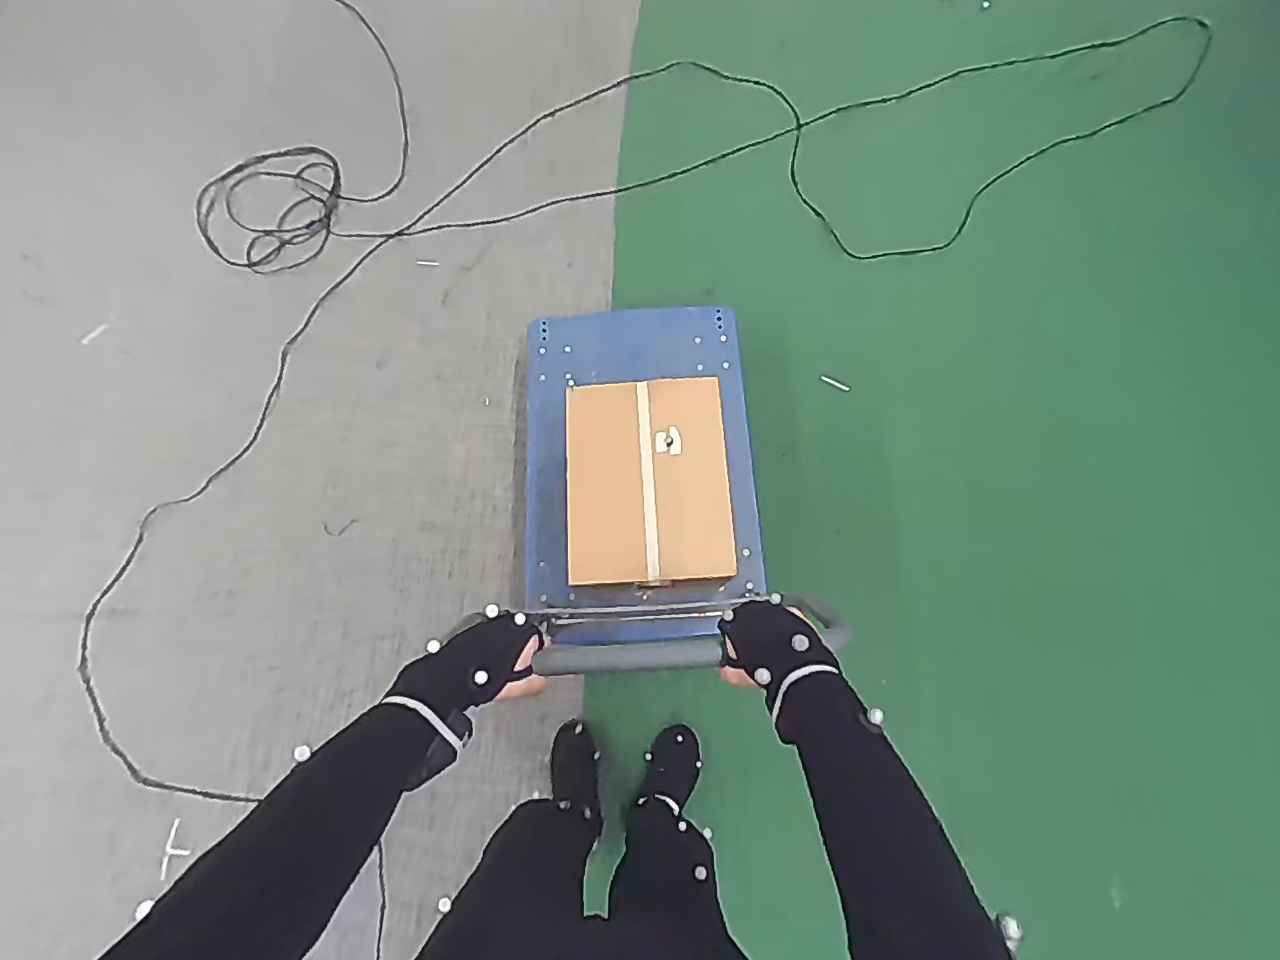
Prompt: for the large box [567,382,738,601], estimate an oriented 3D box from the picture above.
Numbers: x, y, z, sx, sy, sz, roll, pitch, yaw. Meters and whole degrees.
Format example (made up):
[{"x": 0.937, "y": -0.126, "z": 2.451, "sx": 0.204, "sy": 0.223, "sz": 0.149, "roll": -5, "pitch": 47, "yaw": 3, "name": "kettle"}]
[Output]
[{"x": 0.021, "y": 0.042, "z": 1.194, "sx": 0.320, "sy": 0.320, "sz": 0.408, "roll": -3, "pitch": 73, "yaw": 0, "name": "large box"}]
